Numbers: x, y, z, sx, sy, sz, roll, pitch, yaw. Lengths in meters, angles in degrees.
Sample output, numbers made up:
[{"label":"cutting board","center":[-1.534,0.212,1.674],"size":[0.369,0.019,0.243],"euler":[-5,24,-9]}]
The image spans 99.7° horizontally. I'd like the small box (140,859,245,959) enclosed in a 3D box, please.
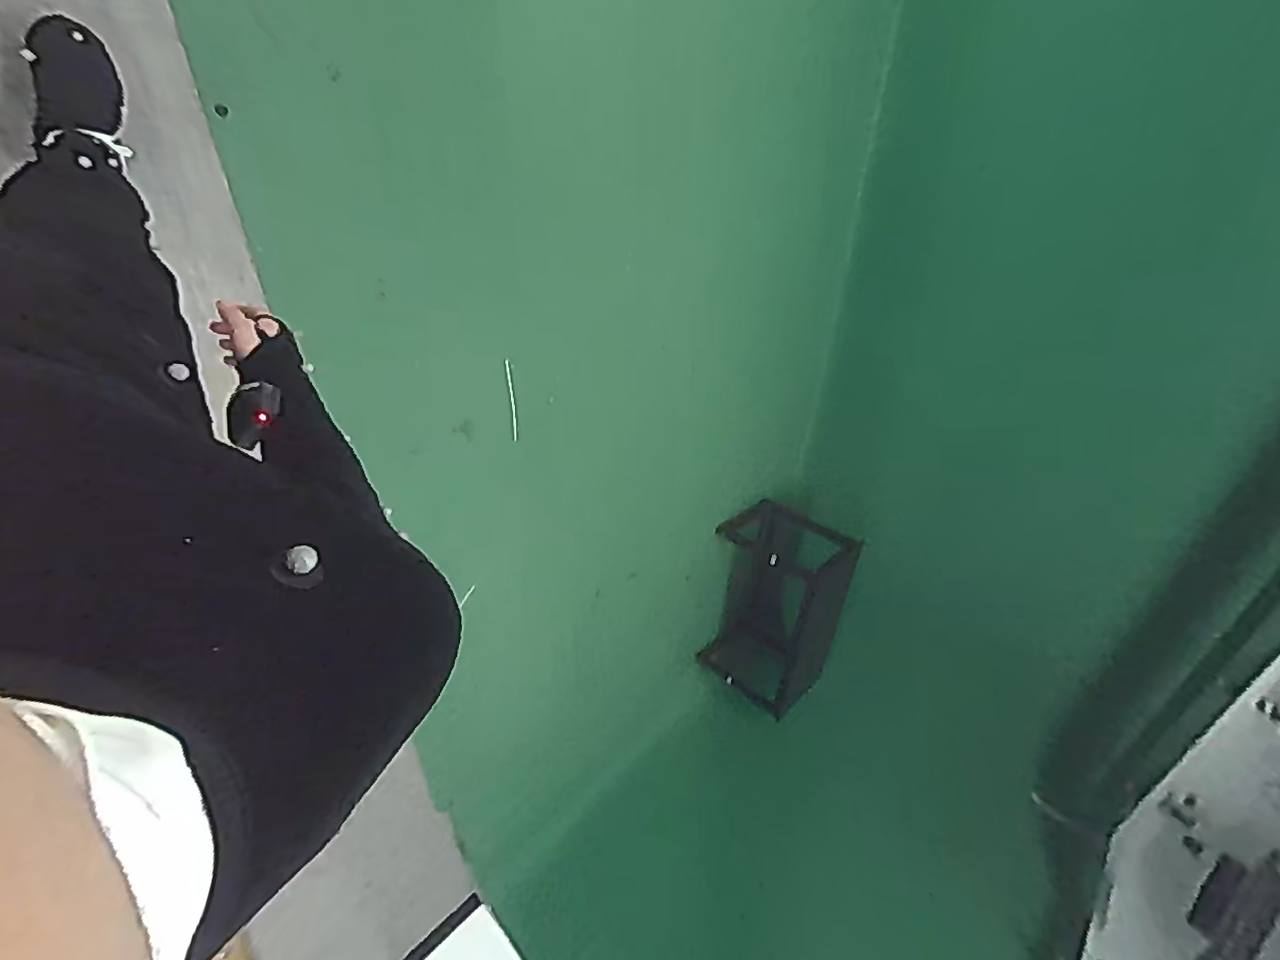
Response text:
[{"label":"small box","center":[-1.261,1.226,1.526],"size":[0.168,0.176,0.179],"euler":[-29,134,-38]}]
